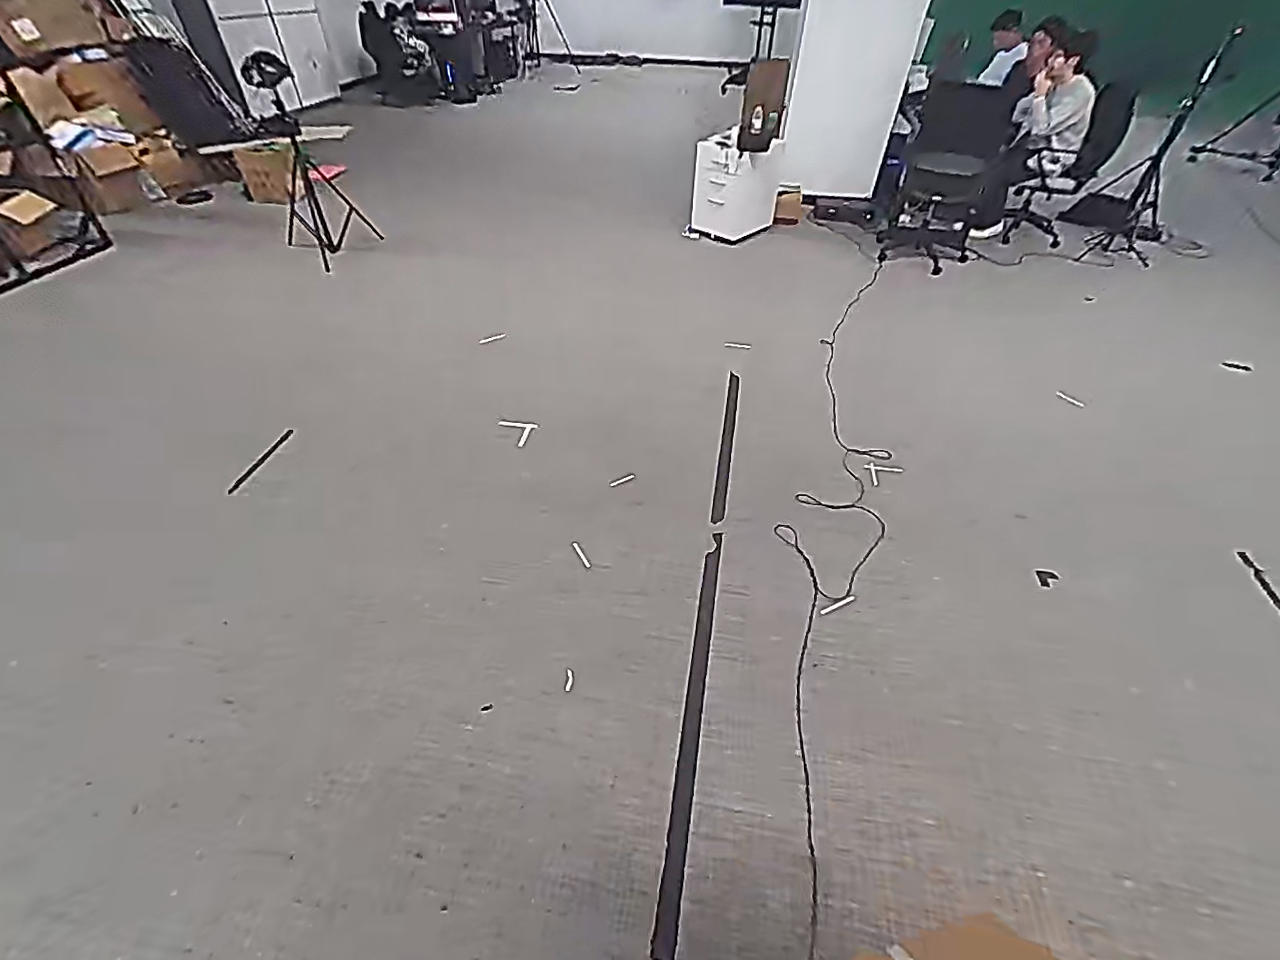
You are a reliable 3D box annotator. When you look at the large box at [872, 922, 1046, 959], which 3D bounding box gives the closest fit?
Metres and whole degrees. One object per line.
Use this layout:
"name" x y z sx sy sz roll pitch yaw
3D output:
"large box" 0.430 0.784 0.590 0.320 0.408 0.320 -18 68 -4
